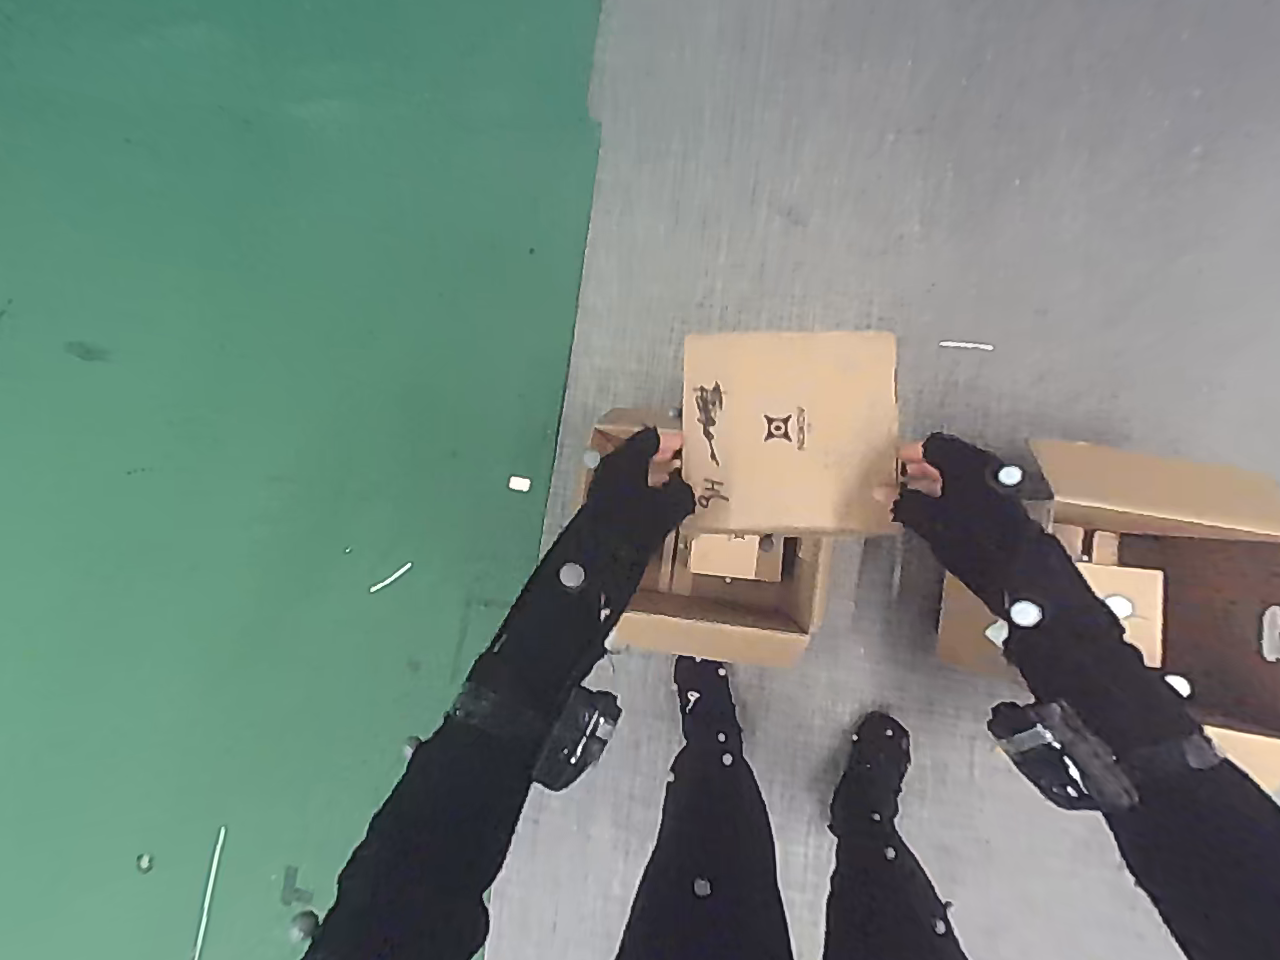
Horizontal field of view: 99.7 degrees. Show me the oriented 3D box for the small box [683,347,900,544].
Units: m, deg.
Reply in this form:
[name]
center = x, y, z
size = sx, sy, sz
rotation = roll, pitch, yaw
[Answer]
[small box]
center = 0.133, -0.023, 0.534
size = 0.179, 0.176, 0.168
rotation = 0, 82, 4
